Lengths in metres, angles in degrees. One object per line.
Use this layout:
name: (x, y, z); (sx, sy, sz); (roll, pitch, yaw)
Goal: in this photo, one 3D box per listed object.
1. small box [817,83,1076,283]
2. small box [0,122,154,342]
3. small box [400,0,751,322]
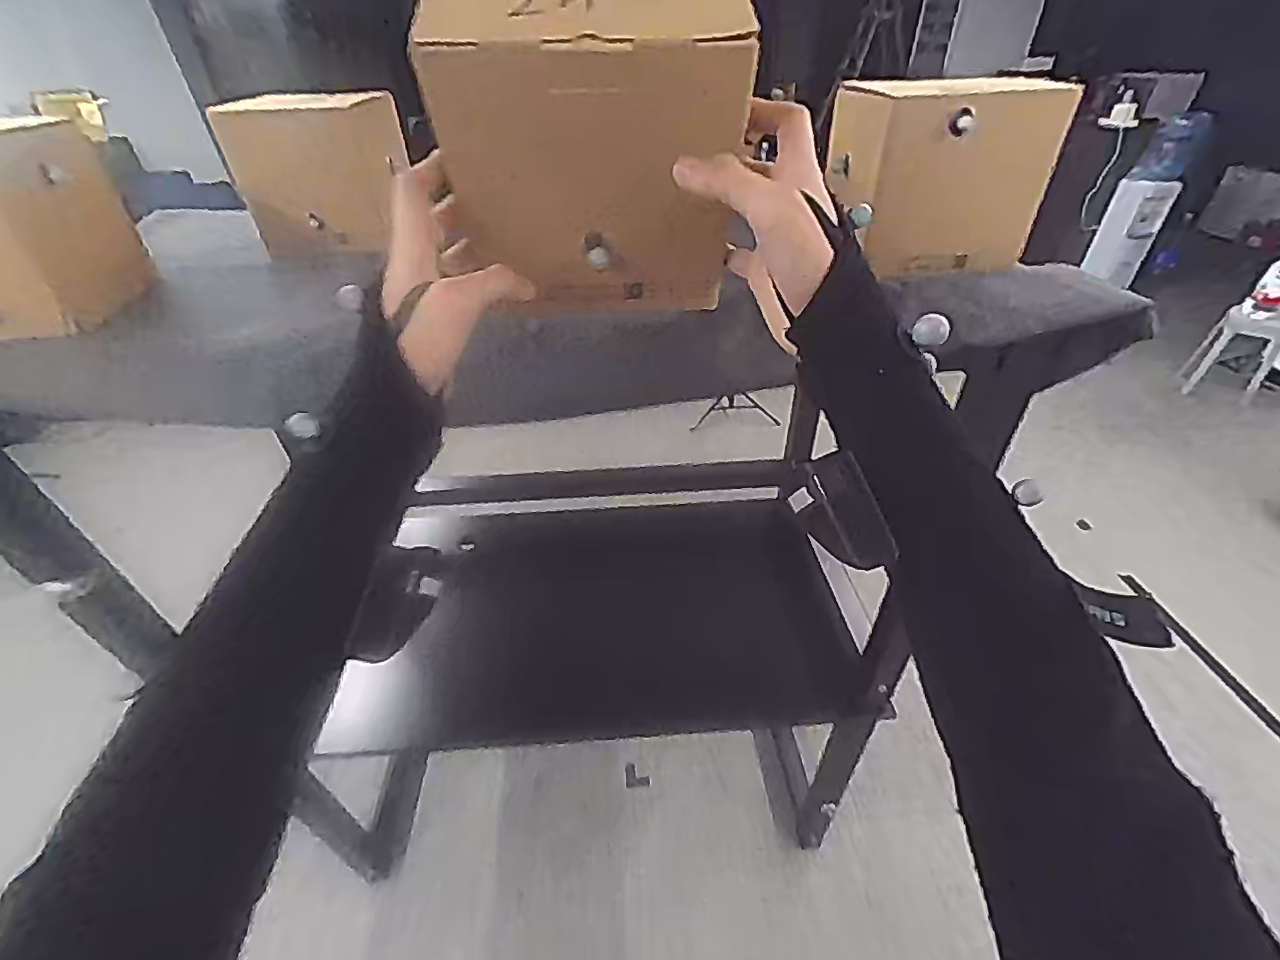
small box: (0.302, -0.323, 0.586); (0.168, 0.176, 0.179); (-2, 37, 2)
small box: (-0.648, -0.248, 0.542); (0.168, 0.176, 0.179); (-9, 40, -9)
small box: (-0.033, -0.229, 0.360); (0.168, 0.176, 0.179); (-3, 61, -1)
